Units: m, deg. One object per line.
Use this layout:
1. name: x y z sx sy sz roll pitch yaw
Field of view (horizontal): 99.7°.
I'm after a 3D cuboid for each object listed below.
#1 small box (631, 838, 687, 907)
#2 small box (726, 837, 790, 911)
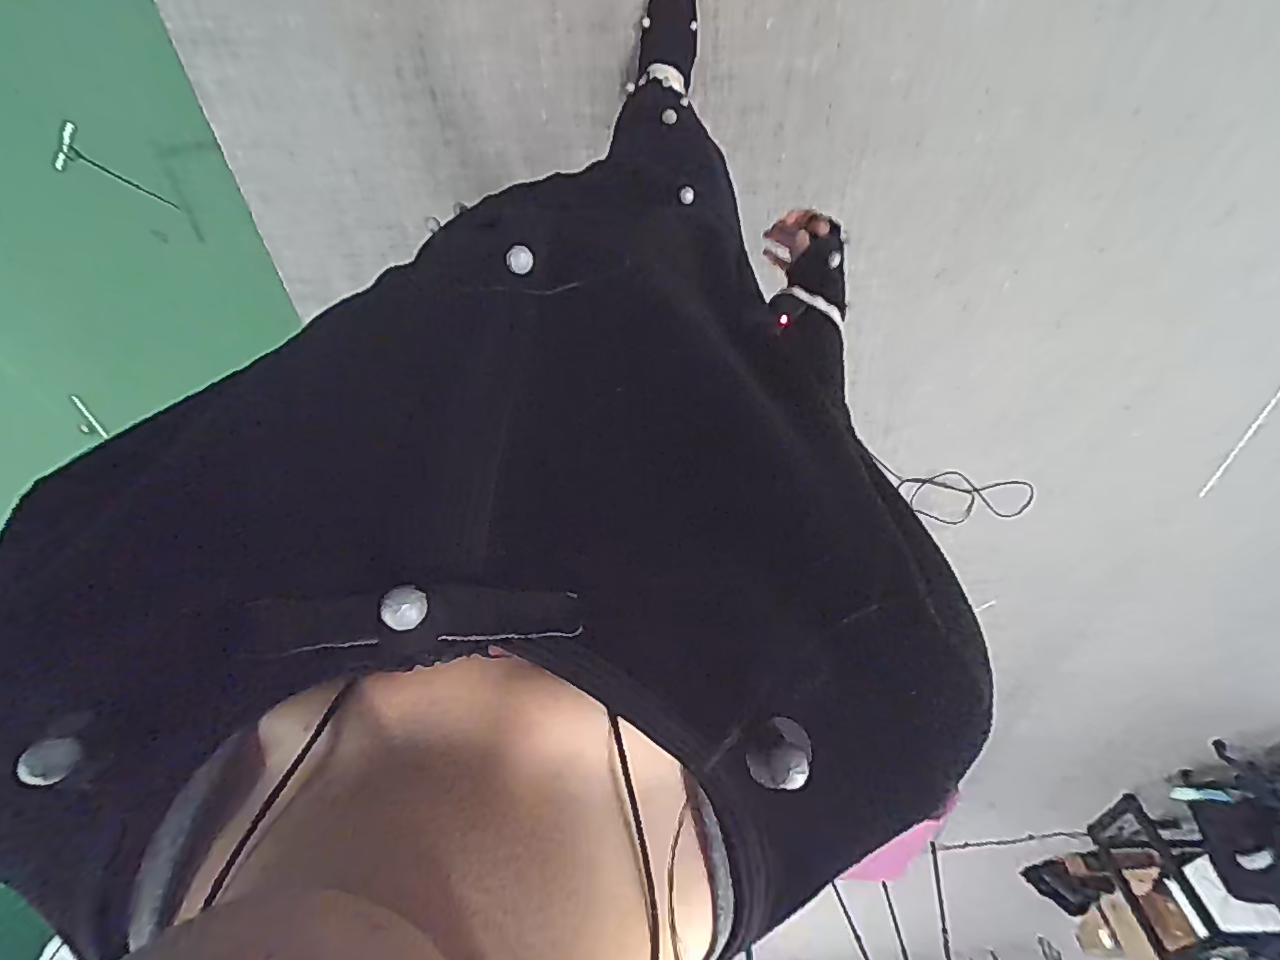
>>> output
1. small box: 0.062 1.324 1.816 0.179 0.176 0.168 -4 129 3
2. small box: 0.389 1.318 1.811 0.179 0.176 0.168 0 130 2
